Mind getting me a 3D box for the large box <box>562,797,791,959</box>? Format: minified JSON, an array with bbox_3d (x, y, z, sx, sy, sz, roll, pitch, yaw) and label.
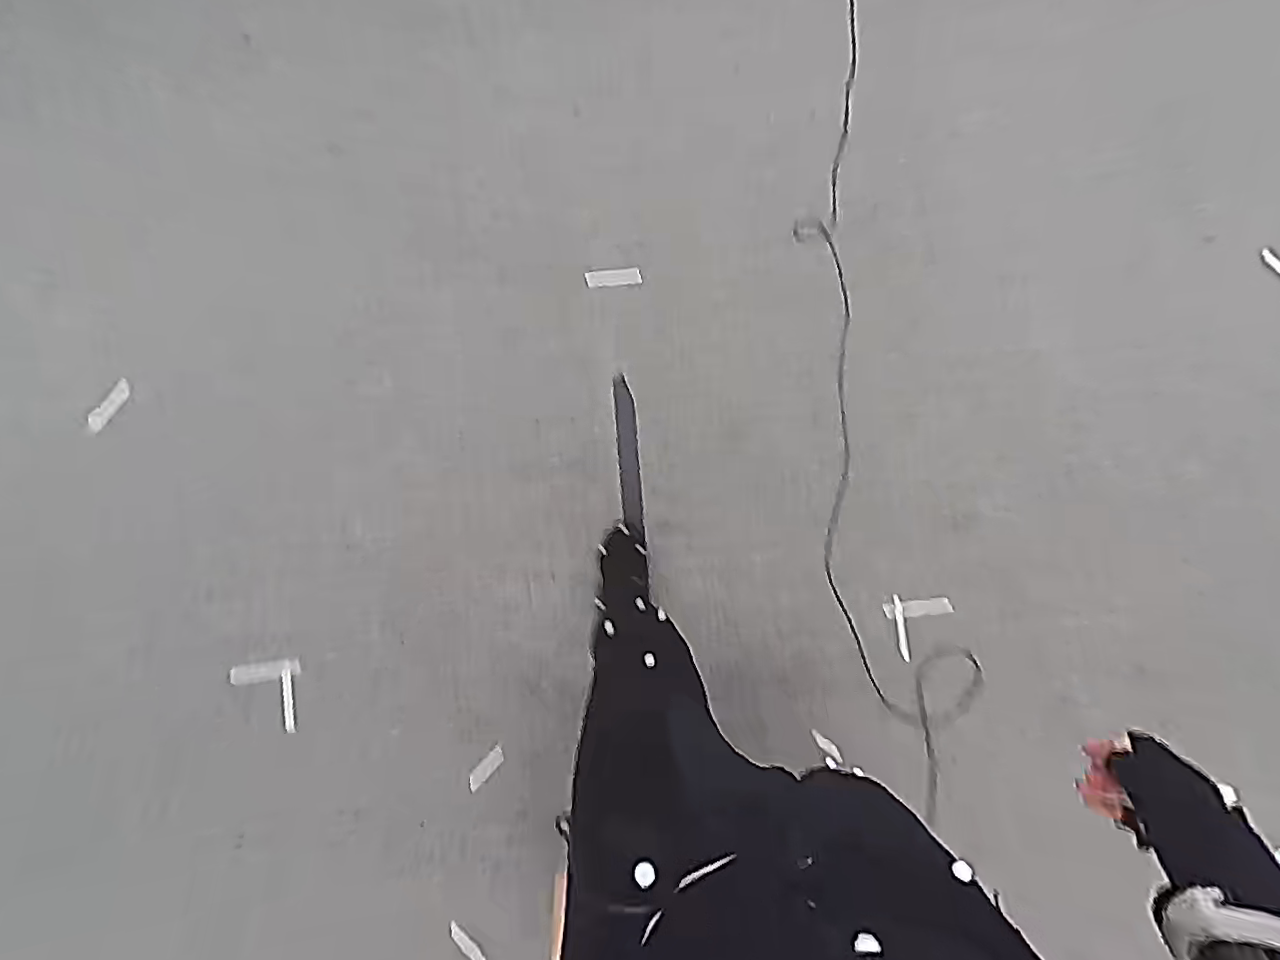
[{"bbox_3d":[0.065,0.873,1.085,0.408,0.320,0.320,2,85,2],"label":"large box"}]
